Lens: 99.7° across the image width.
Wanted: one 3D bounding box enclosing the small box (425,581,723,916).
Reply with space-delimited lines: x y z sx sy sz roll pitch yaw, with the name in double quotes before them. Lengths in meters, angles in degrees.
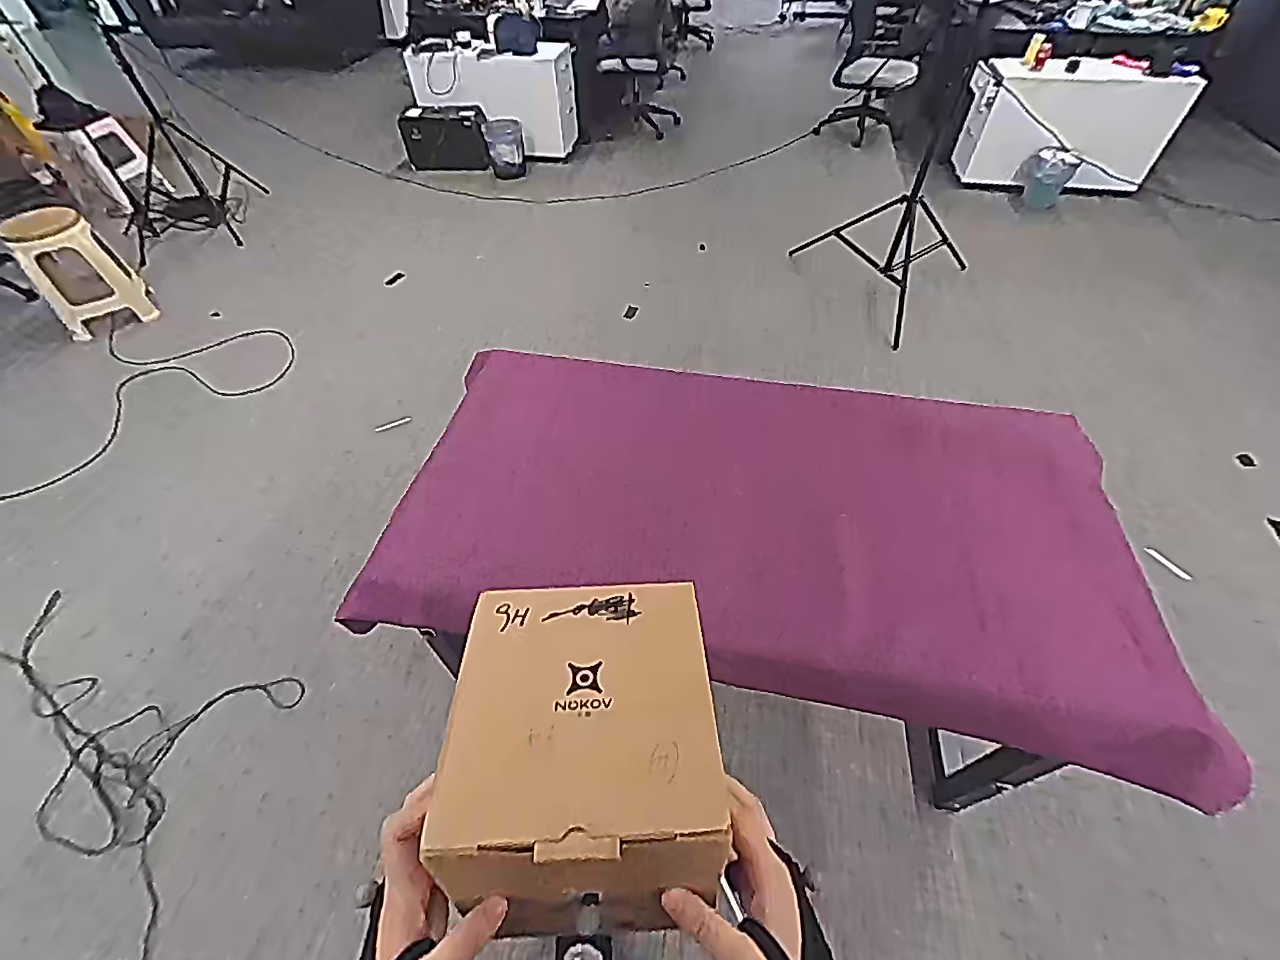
"small box" -0.035 0.198 0.402 0.168 0.176 0.179 -2 39 -1
